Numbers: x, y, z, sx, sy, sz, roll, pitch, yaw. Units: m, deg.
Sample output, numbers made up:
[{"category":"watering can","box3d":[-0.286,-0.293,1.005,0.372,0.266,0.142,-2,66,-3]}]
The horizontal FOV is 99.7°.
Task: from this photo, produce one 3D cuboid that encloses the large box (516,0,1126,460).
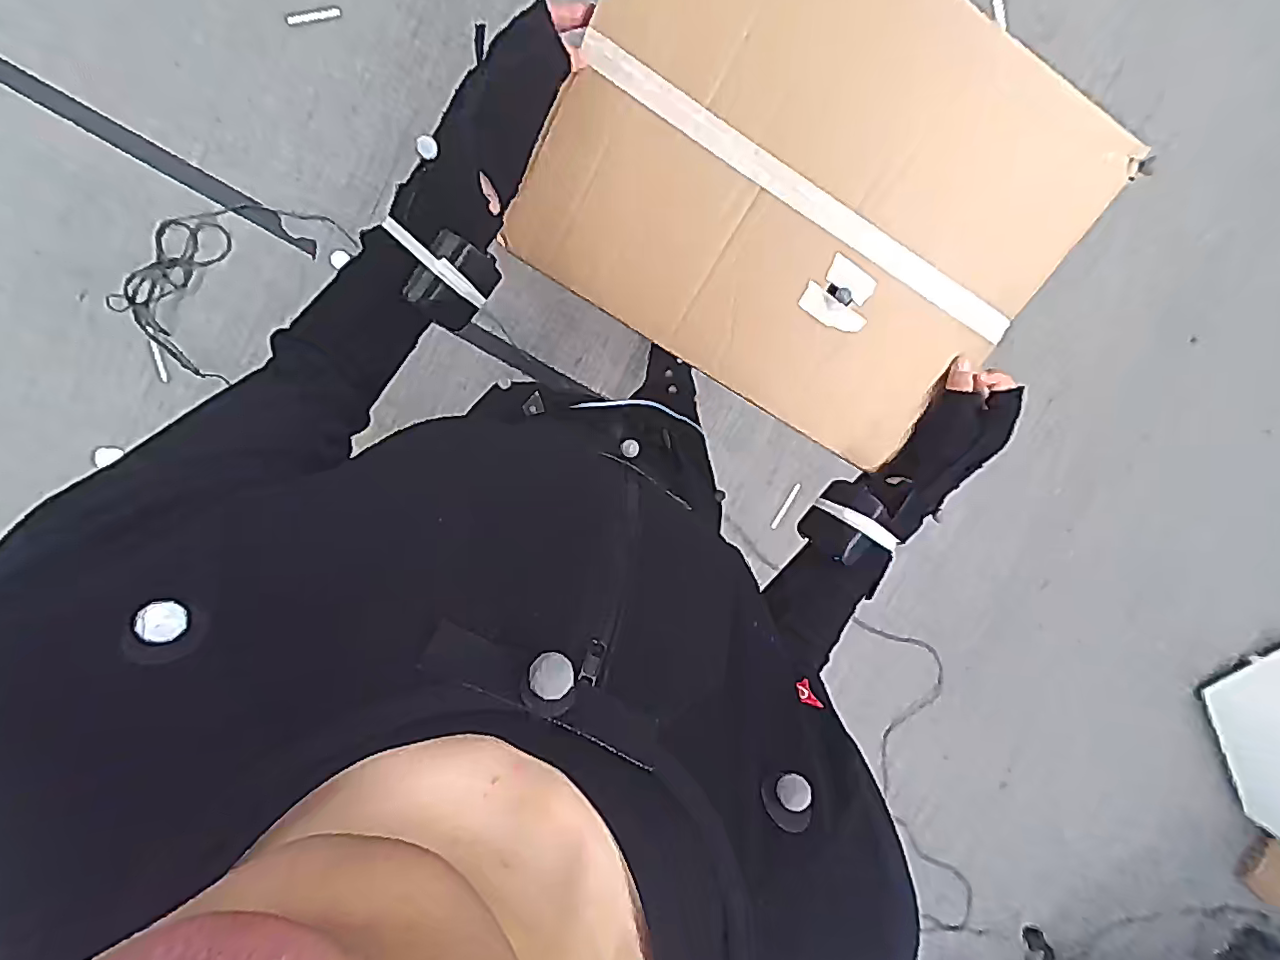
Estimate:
[{"category":"large box","box3d":[0.140,-0.286,0.579,0.408,0.320,0.320,30,110,-10]}]
